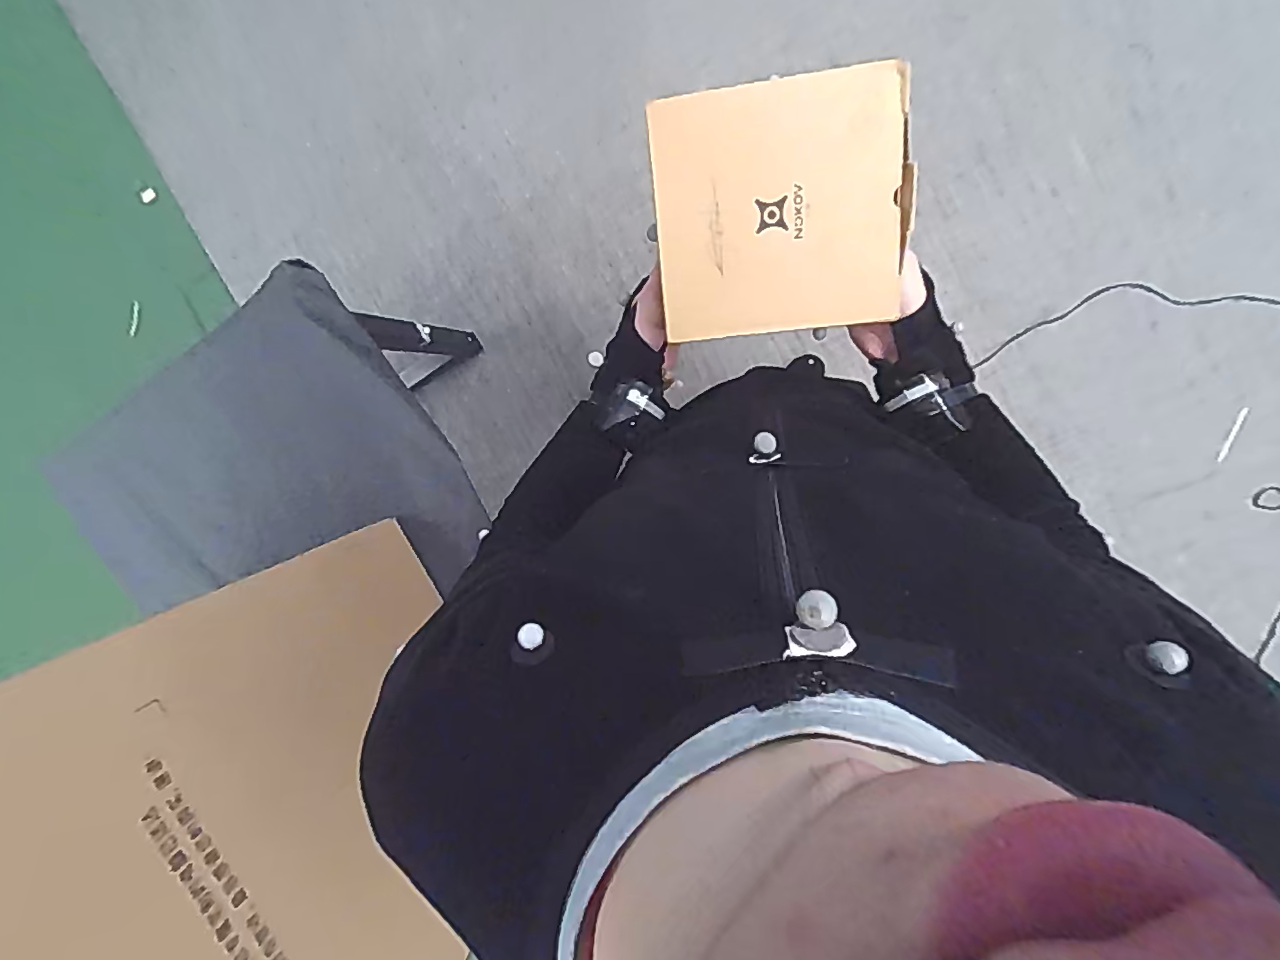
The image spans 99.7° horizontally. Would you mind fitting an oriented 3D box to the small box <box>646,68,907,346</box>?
[{"bbox_3d":[0.106,-0.213,0.463,0.179,0.176,0.168,-4,108,9],"label":"small box"}]
